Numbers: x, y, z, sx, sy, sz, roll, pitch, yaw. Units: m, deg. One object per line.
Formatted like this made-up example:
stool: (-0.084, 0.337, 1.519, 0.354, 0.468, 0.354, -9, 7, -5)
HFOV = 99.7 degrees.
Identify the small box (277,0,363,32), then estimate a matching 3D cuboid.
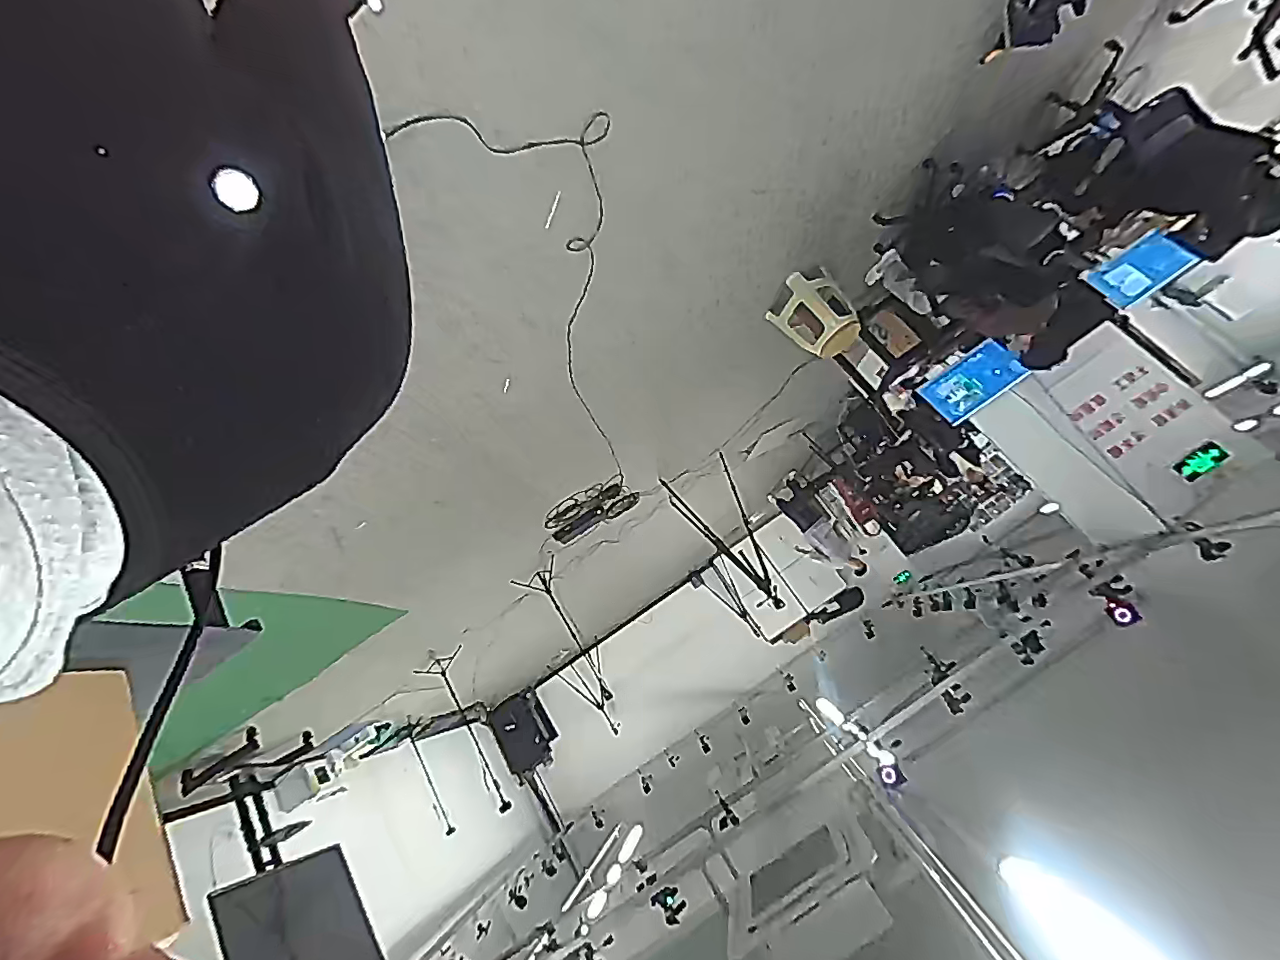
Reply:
small box: (-0.379, -0.650, 0.584, 0.176, 0.179, 0.168, 3, -179, 39)
